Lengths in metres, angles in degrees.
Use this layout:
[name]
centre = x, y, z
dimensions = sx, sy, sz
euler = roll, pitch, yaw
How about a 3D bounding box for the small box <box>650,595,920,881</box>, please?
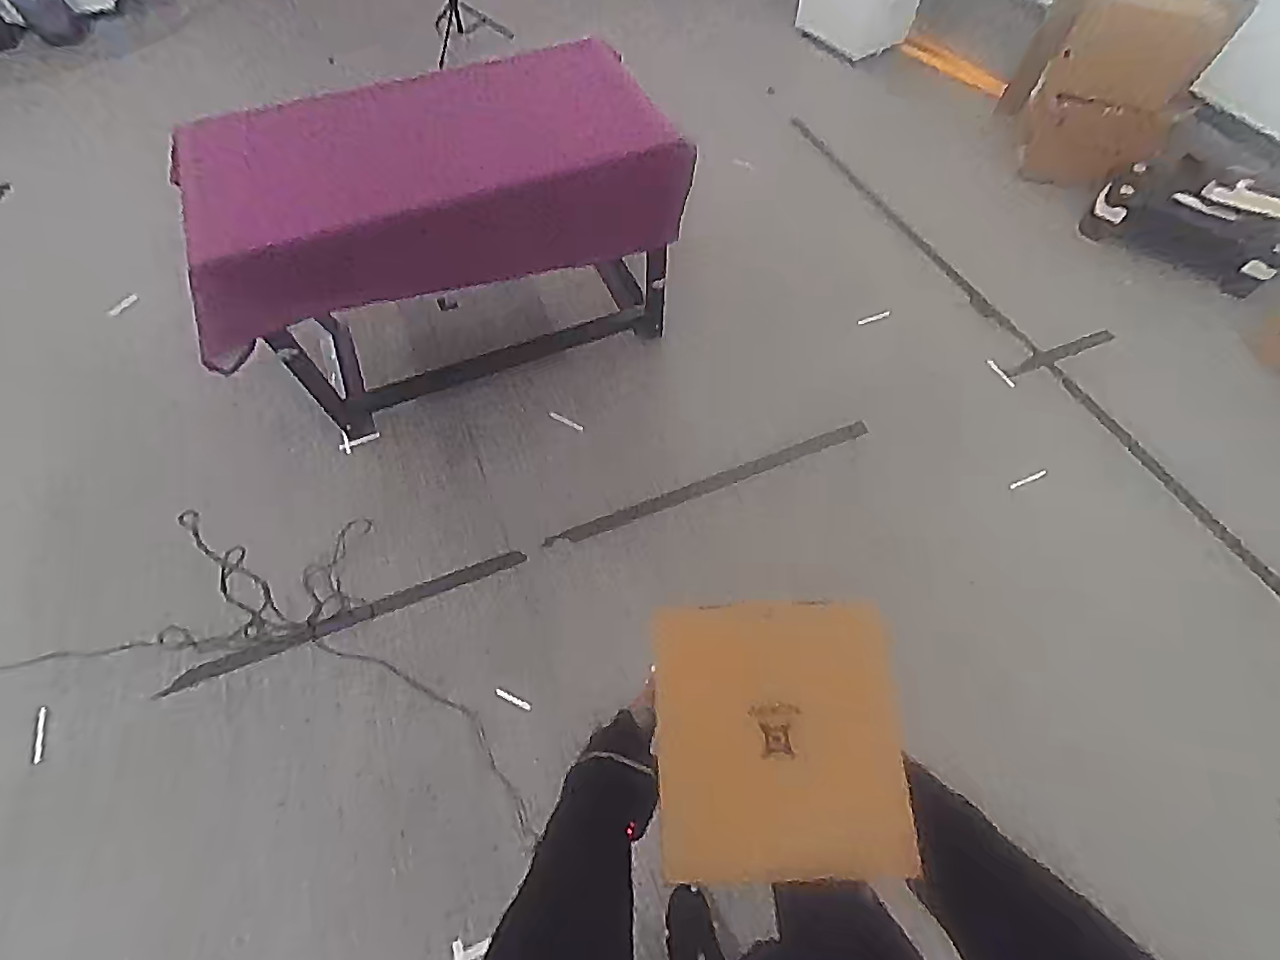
[small box]
centre = 0.098, 0.196, 0.445
dimensions = 0.168, 0.176, 0.179
euler = -4, 70, 2
